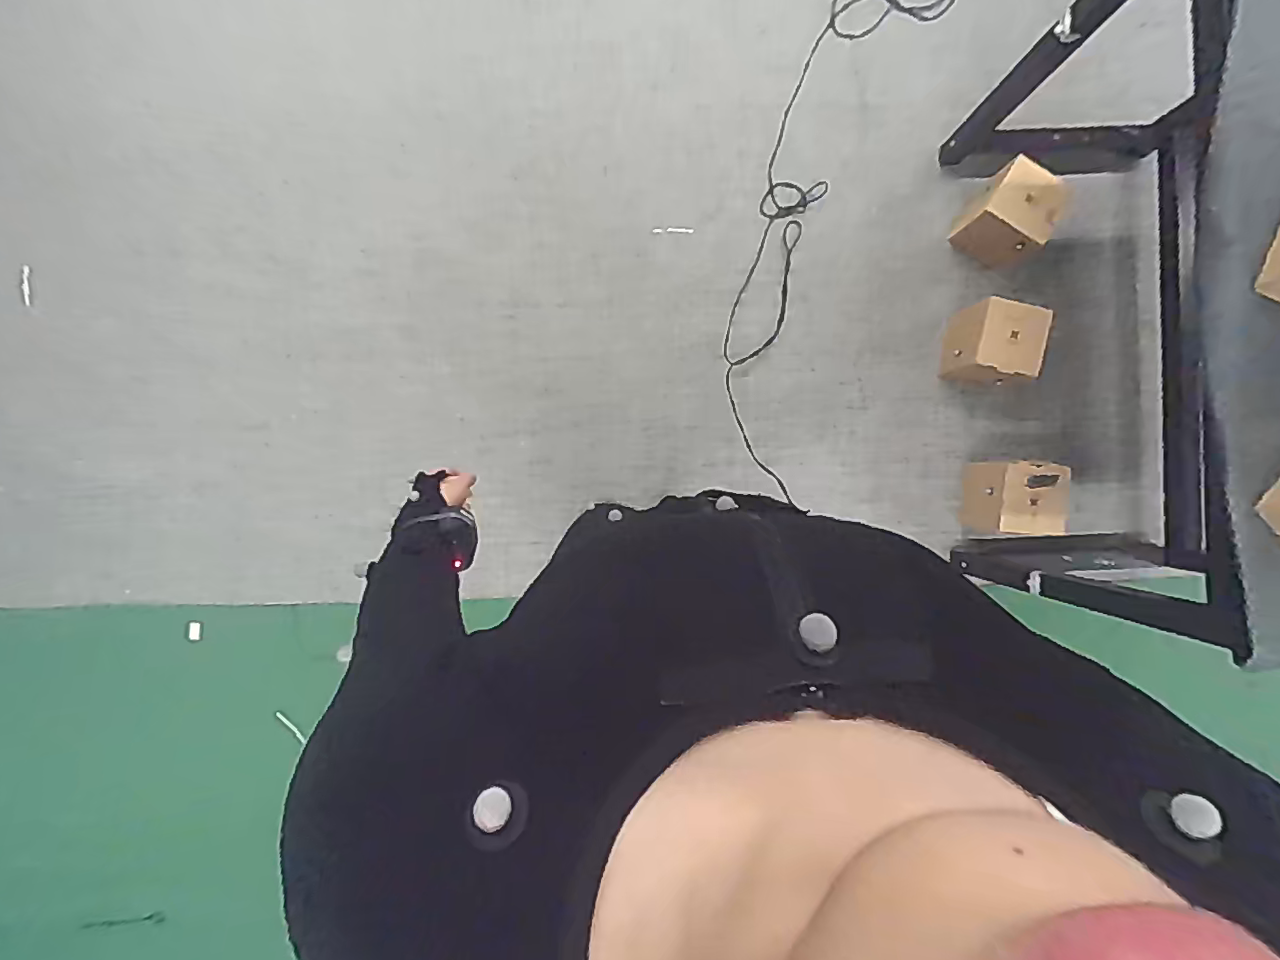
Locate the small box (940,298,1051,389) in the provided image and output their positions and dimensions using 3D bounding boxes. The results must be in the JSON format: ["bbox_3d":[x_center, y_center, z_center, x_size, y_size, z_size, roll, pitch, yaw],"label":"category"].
[{"bbox_3d":[0.916,-0.346,1.409,0.168,0.176,0.179,12,88,-2],"label":"small box"}]

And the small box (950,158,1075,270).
[{"bbox_3d":[0.960,-0.684,1.414,0.179,0.176,0.168,31,89,-1],"label":"small box"}]

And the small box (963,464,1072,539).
[{"bbox_3d":[0.971,0.052,1.405,0.168,0.176,0.179,4,91,0],"label":"small box"}]
